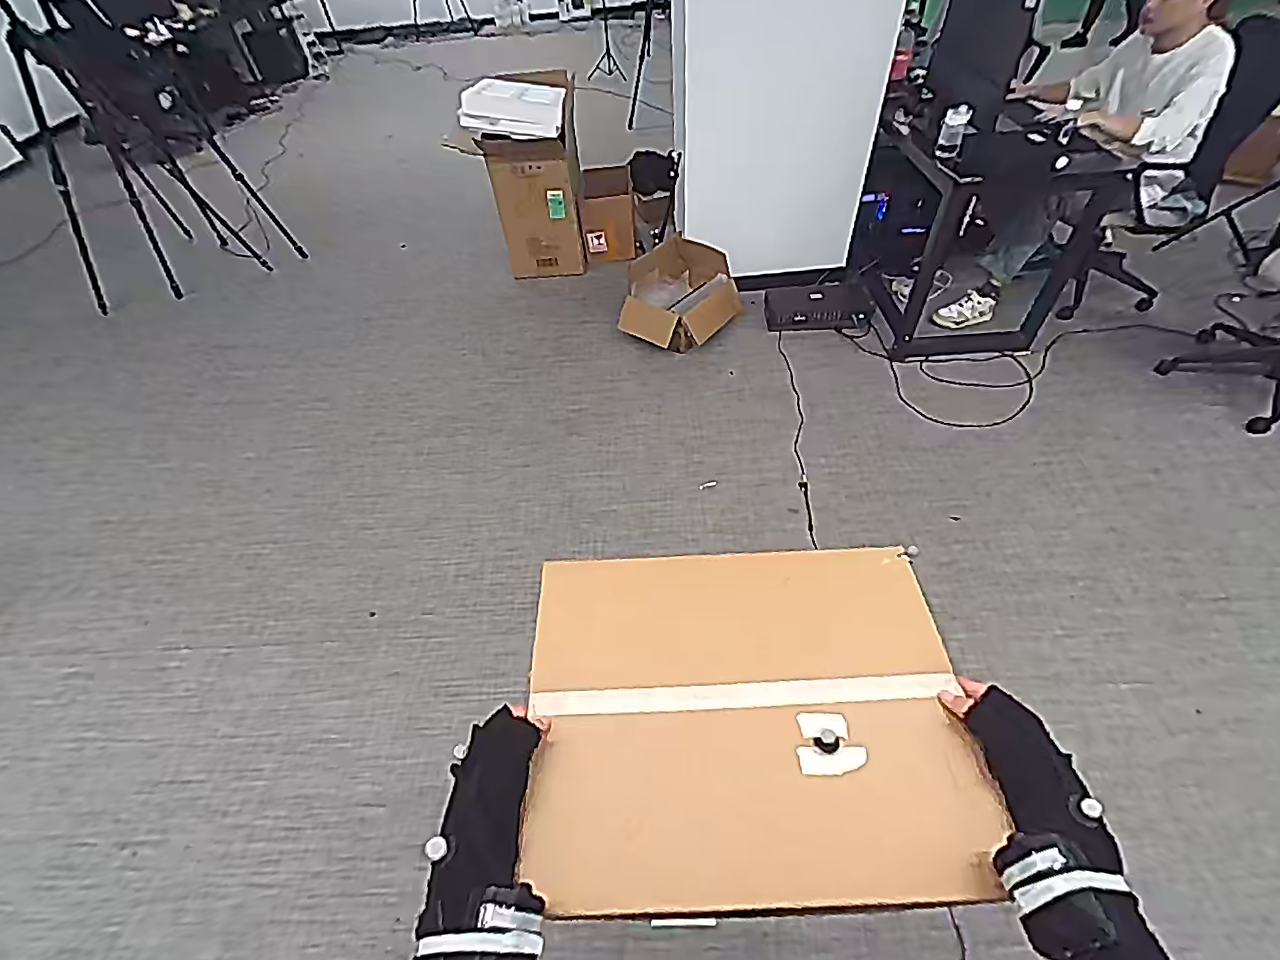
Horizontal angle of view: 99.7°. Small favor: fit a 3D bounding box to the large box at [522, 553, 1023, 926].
[{"bbox_3d":[0.102,0.306,0.629,0.408,0.320,0.320,-2,50,1],"label":"large box"}]
